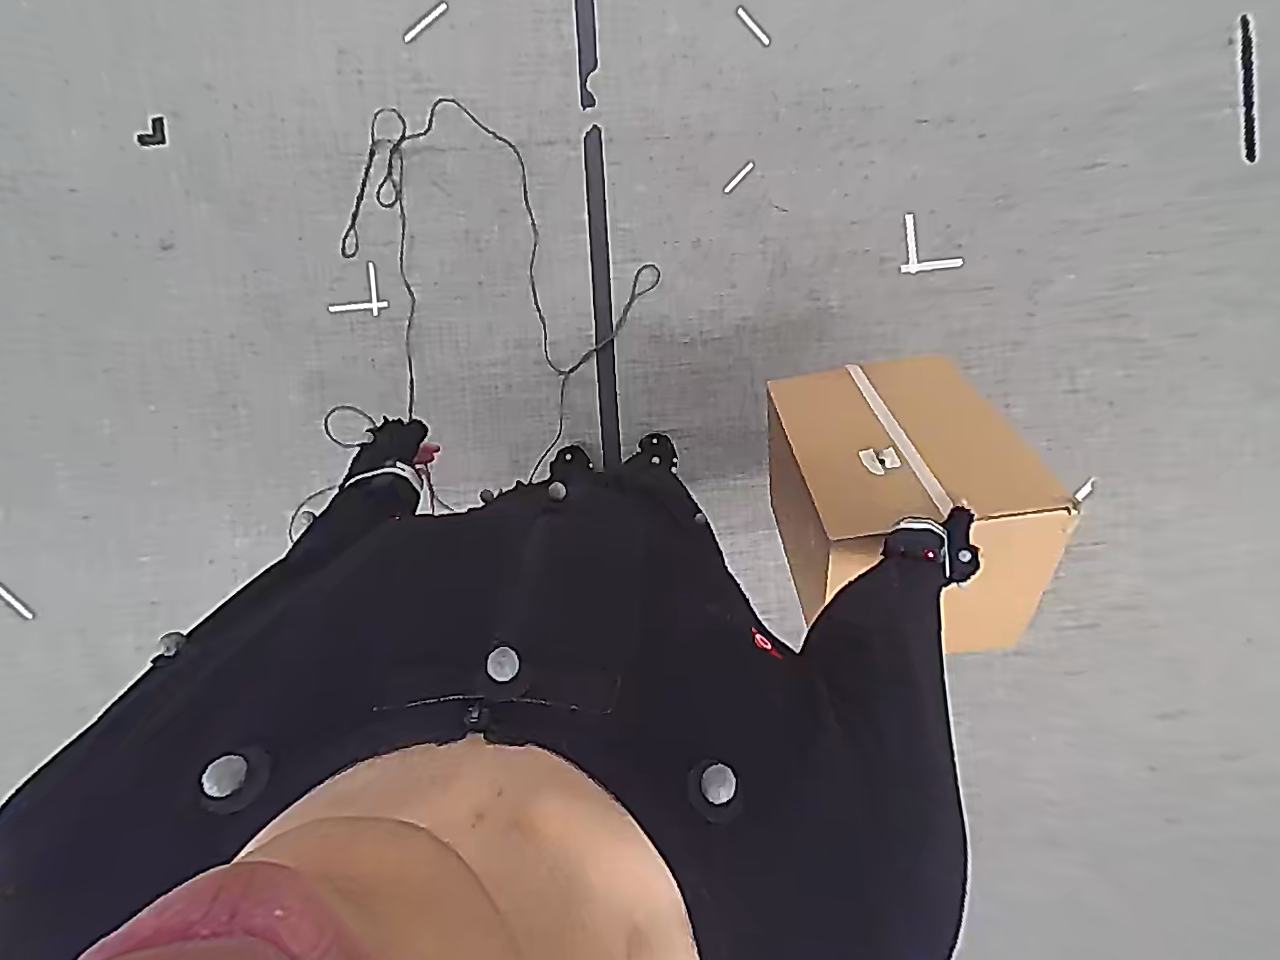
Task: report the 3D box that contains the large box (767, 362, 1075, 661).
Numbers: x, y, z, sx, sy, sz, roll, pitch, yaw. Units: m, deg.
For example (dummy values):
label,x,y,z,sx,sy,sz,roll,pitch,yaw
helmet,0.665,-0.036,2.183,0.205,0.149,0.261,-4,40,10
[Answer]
label,x,y,z,sx,sy,sz,roll,pitch,yaw
large box,0.422,0.045,0.949,0.320,0.408,0.320,-10,131,5
